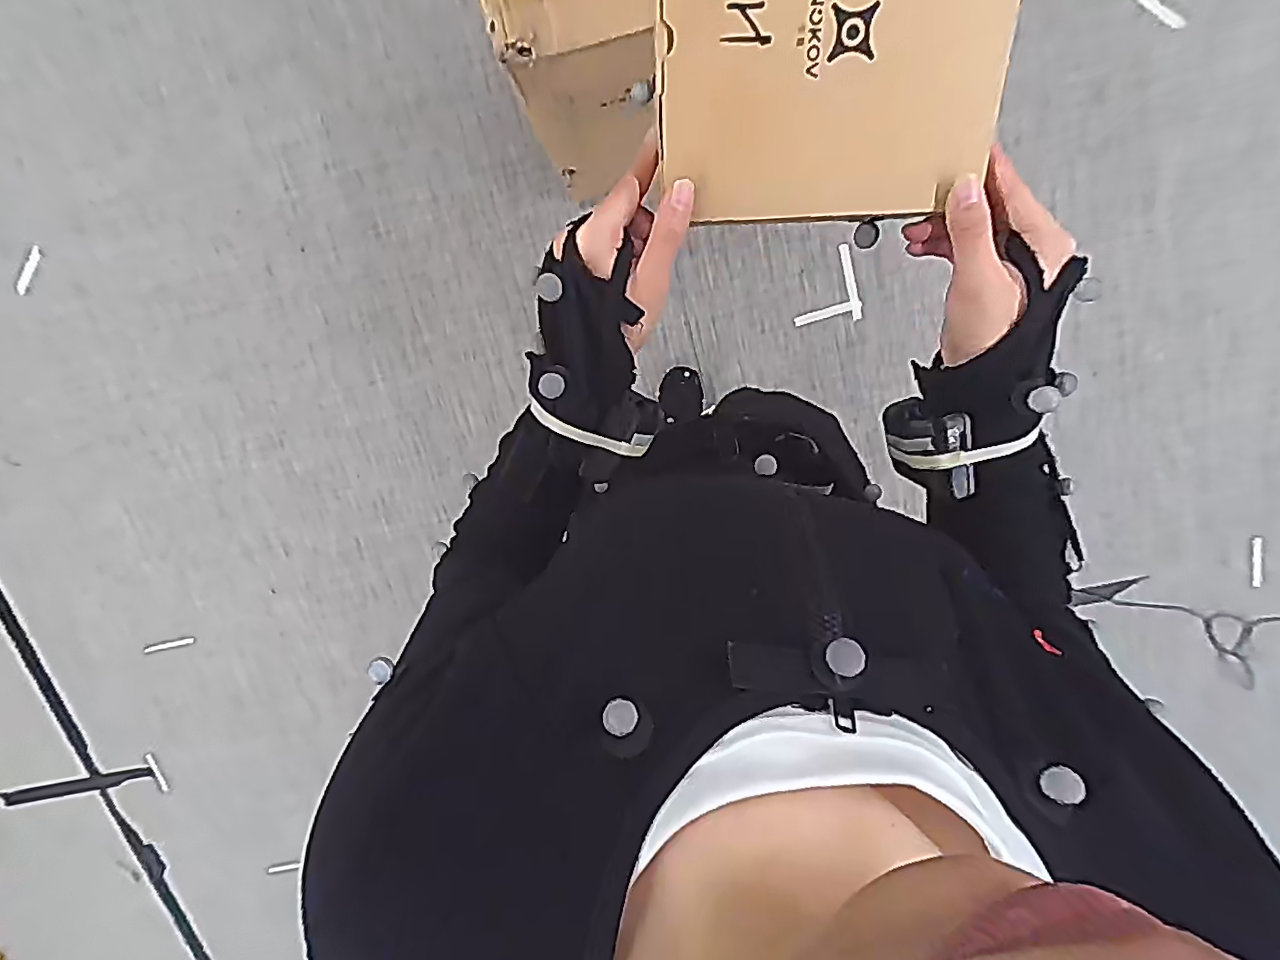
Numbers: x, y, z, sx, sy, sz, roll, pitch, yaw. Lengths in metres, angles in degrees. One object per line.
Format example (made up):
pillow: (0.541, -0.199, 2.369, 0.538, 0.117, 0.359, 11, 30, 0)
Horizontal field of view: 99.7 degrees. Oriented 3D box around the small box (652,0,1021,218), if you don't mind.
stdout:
small box: (0.097, -0.257, 0.334, 0.179, 0.176, 0.168, -1, 114, 2)
